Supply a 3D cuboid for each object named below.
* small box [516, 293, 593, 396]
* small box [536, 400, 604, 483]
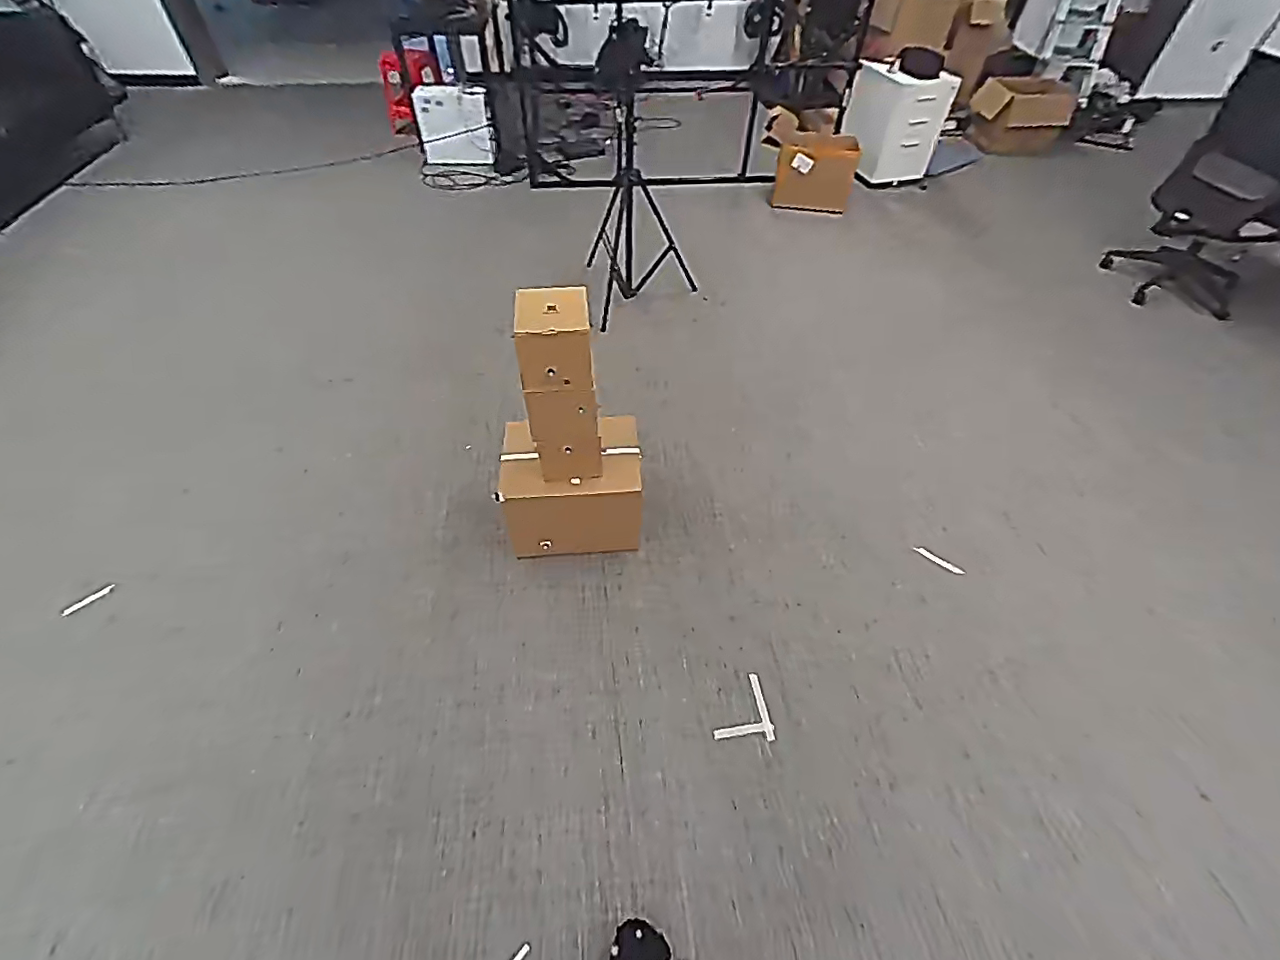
[{"bbox_3d":[-0.200,-0.322,1.288,0.168,0.176,0.179,-5,51,-6],"label":"small box"},{"bbox_3d":[-0.197,-0.105,1.532,0.179,0.176,0.168,-5,51,-6],"label":"small box"}]
